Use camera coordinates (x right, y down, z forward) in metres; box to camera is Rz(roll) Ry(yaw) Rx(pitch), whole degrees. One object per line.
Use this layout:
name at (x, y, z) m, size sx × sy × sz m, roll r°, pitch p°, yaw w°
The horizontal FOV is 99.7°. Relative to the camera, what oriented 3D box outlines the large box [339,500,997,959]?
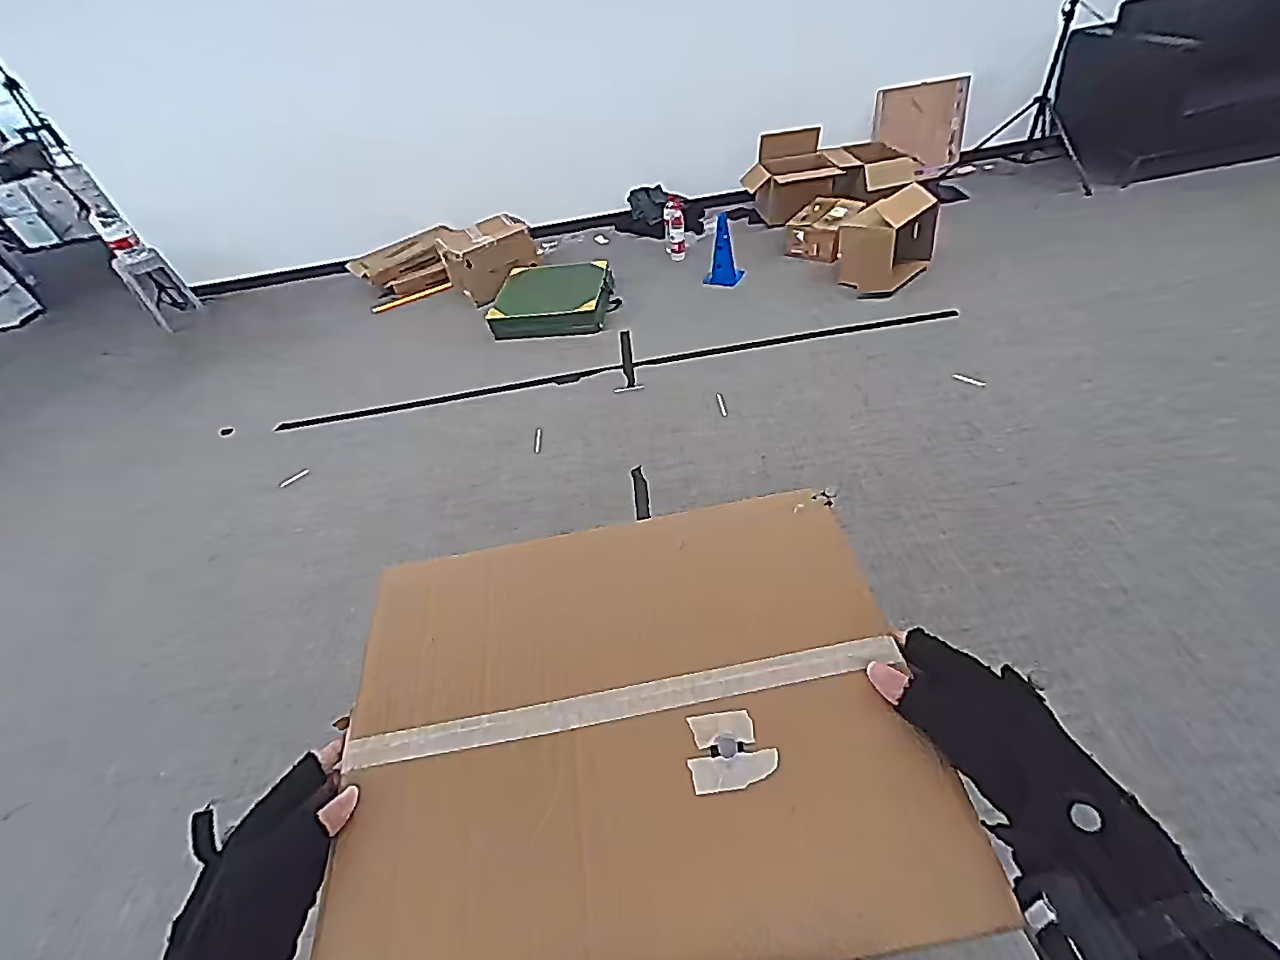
large box at (0.008, 0.265, 0.518) m, size 0.408 × 0.320 × 0.320 m, roll -11°, pitch 50°, yaw -1°
